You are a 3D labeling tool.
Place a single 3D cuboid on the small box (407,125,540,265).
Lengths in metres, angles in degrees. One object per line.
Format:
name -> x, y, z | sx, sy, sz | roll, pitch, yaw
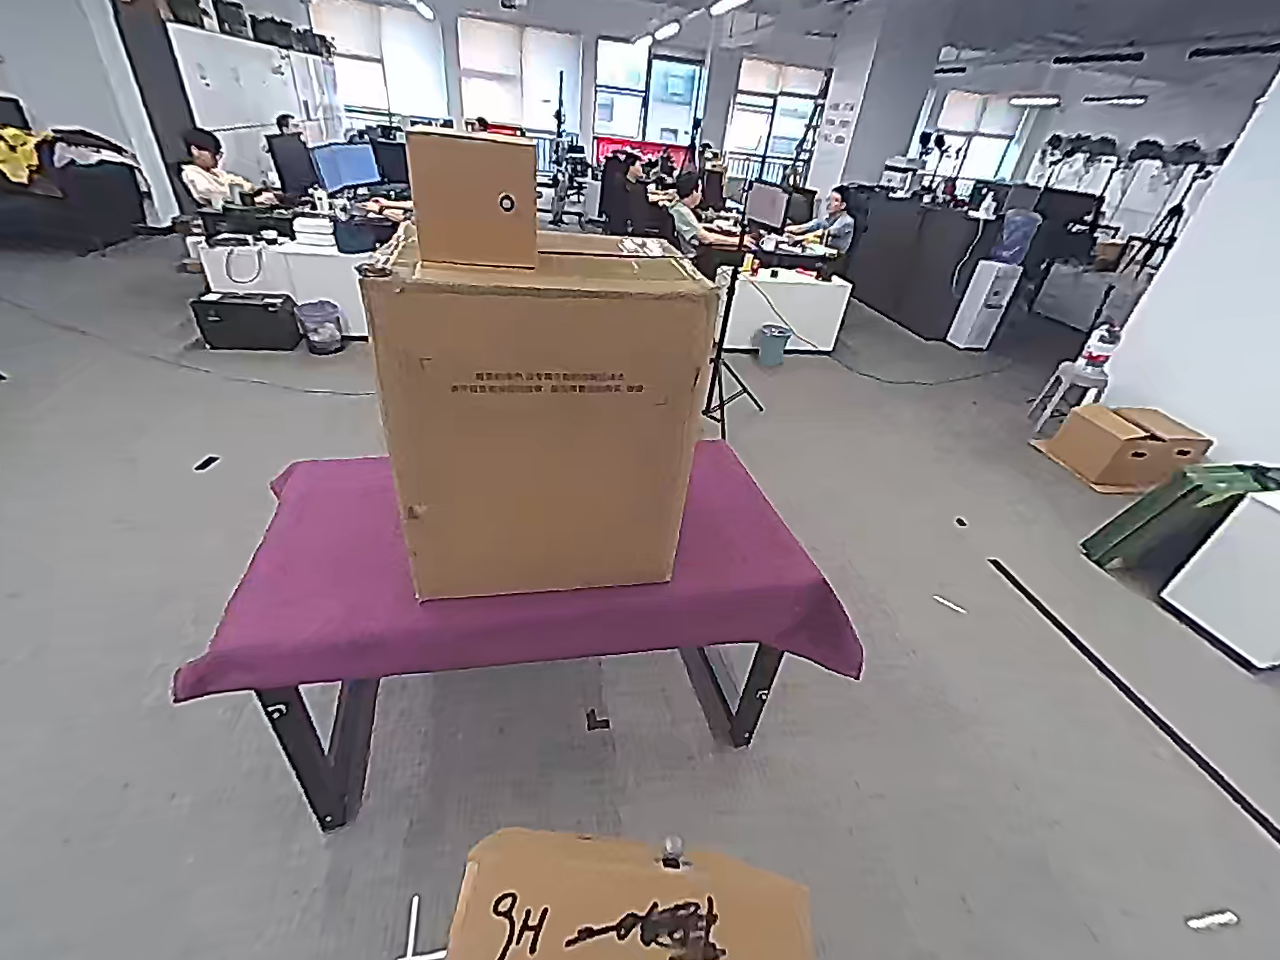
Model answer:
small box -> -0.249, -0.440, 0.841 | 0.179, 0.176, 0.168 | -3, 34, -13
